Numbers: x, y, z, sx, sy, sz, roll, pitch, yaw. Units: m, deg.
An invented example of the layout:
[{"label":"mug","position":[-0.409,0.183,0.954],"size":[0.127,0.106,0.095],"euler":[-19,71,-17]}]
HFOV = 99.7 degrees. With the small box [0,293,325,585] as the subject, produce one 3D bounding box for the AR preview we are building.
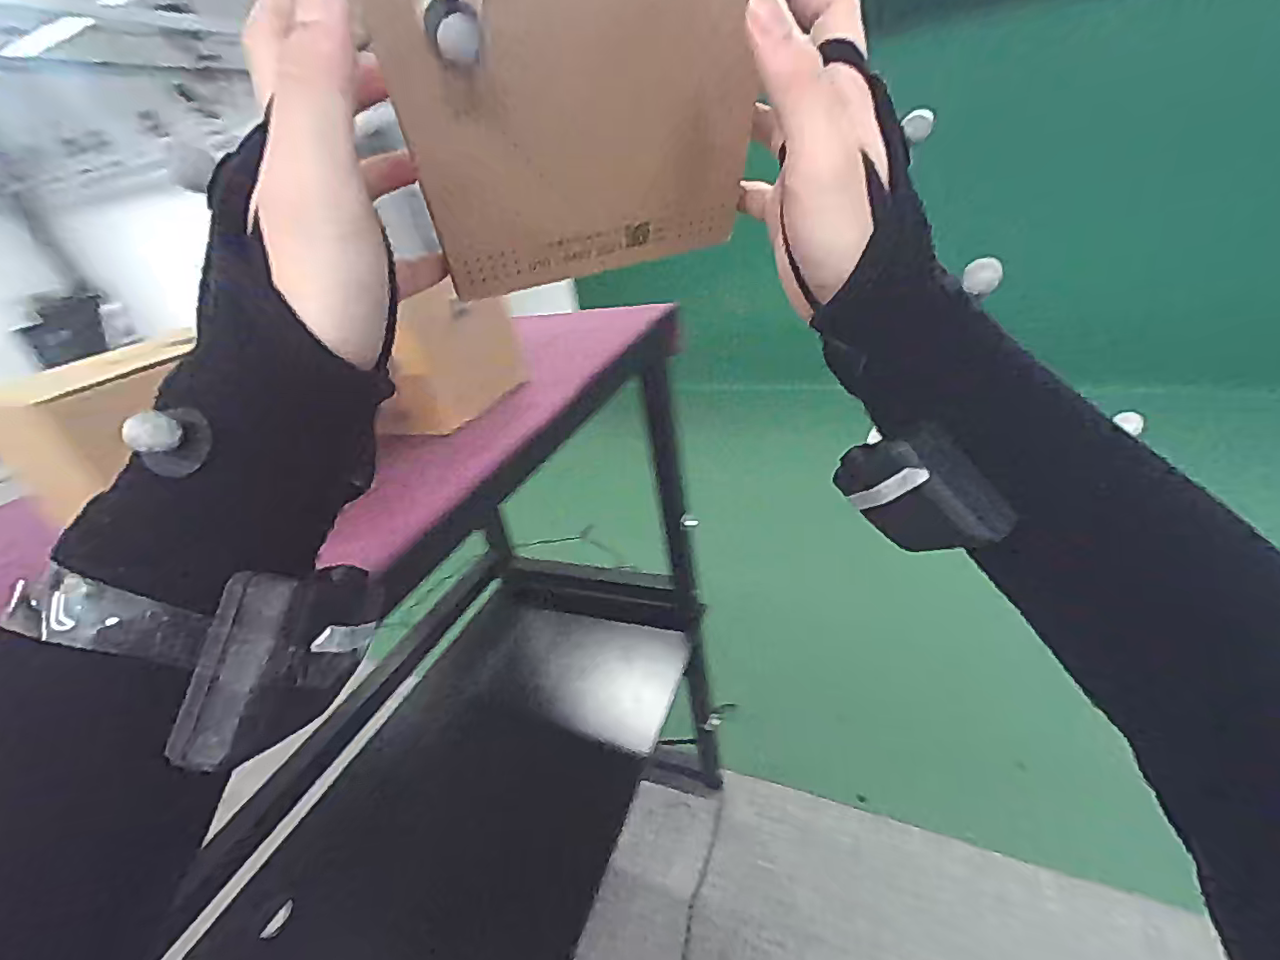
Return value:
[{"label":"small box","position":[-0.398,-0.045,0.443],"size":[0.168,0.176,0.179],"euler":[8,36,27]}]
